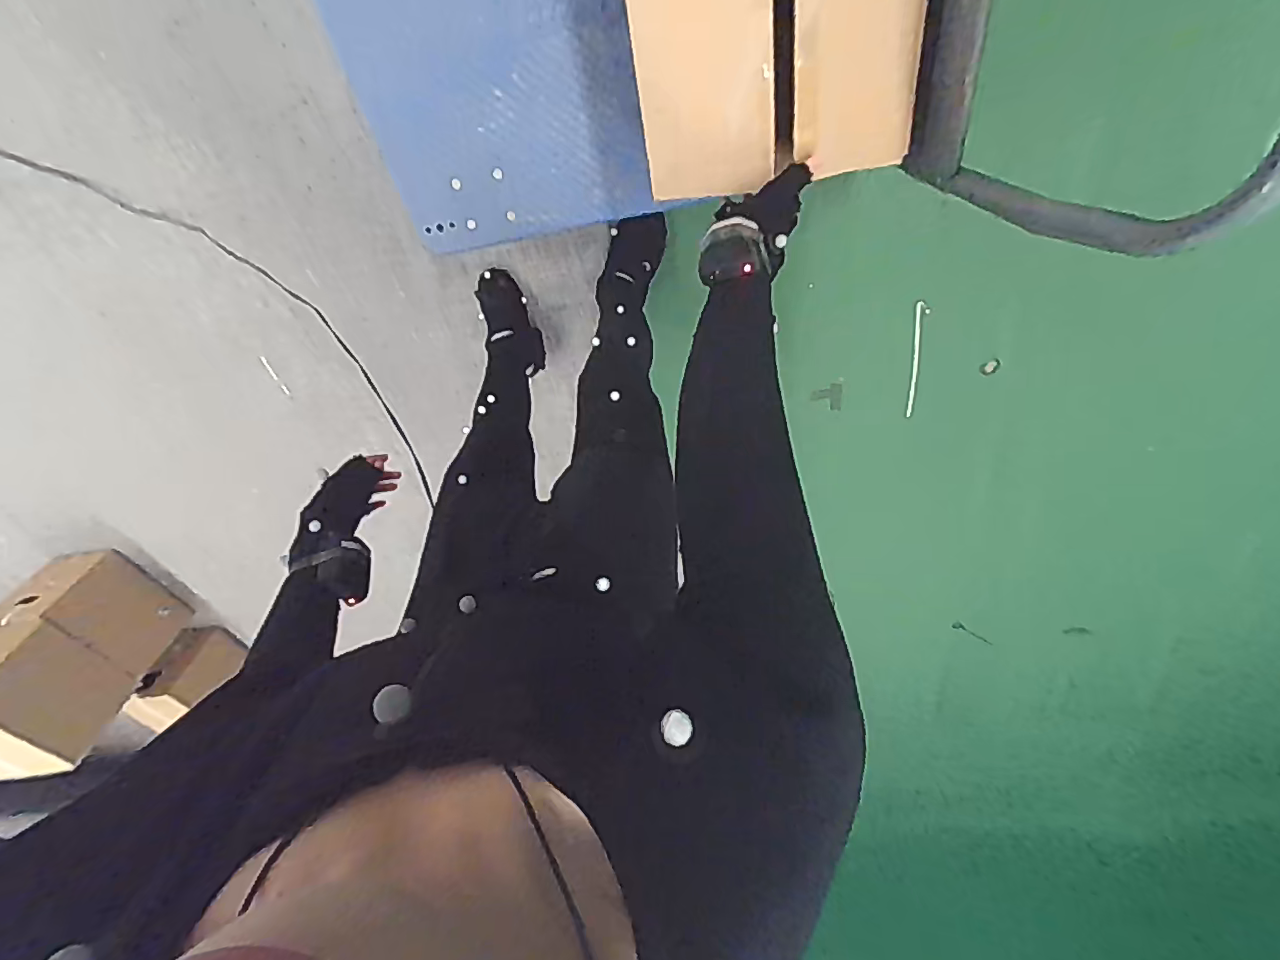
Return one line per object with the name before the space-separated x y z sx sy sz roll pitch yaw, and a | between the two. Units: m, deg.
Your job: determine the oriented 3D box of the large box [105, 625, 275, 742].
large box | -1.896 0.874 2.317 0.320 0.320 0.408 -7 130 11
